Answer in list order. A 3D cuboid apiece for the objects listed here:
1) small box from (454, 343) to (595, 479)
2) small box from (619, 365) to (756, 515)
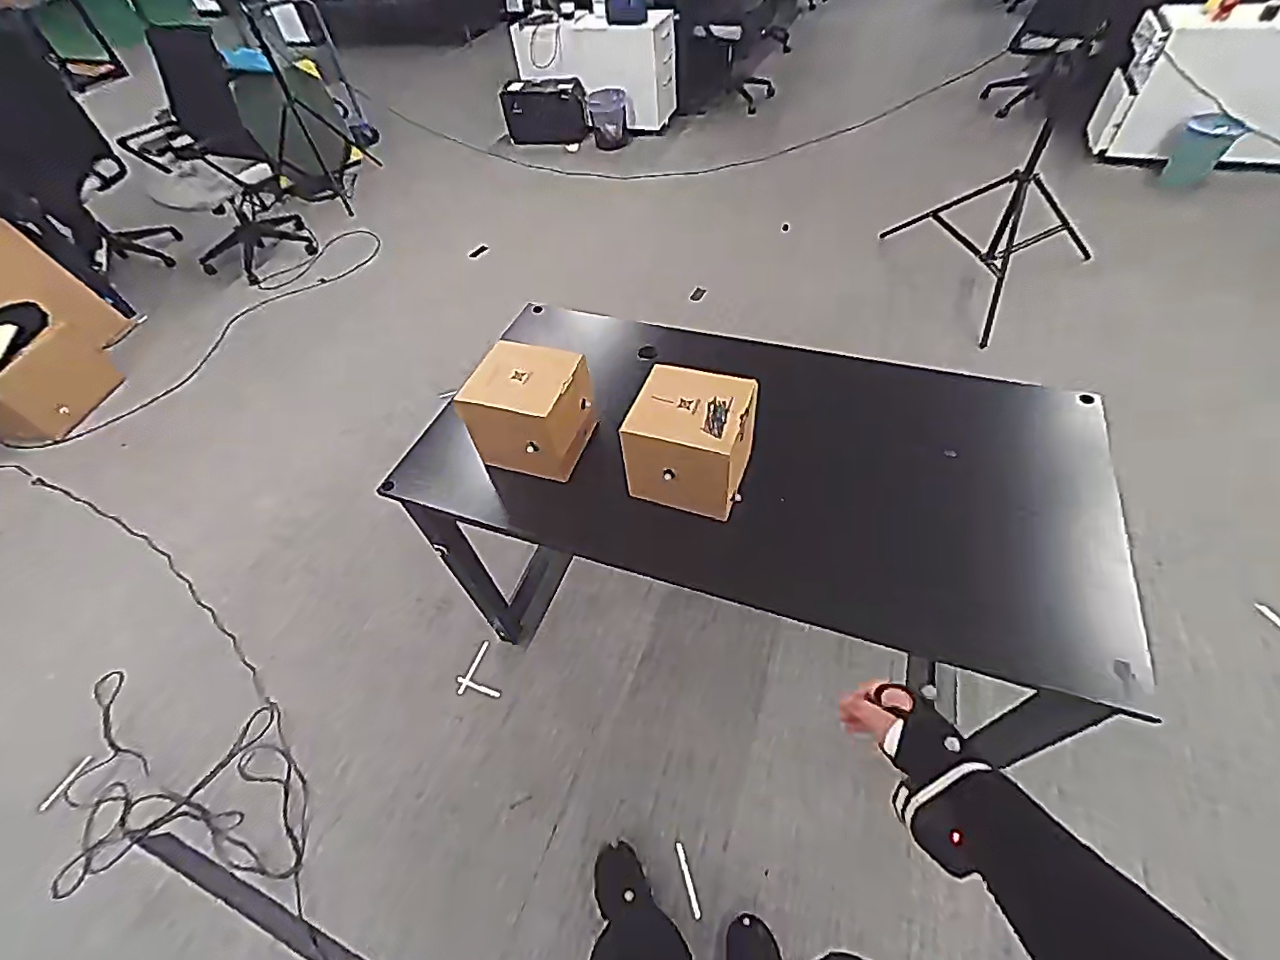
[{"bbox_3d":[-0.195,-0.122,0.979,0.179,0.176,0.168,11,53,15],"label":"small box"},{"bbox_3d":[0.084,-0.063,0.901,0.179,0.176,0.168,14,54,18],"label":"small box"}]
